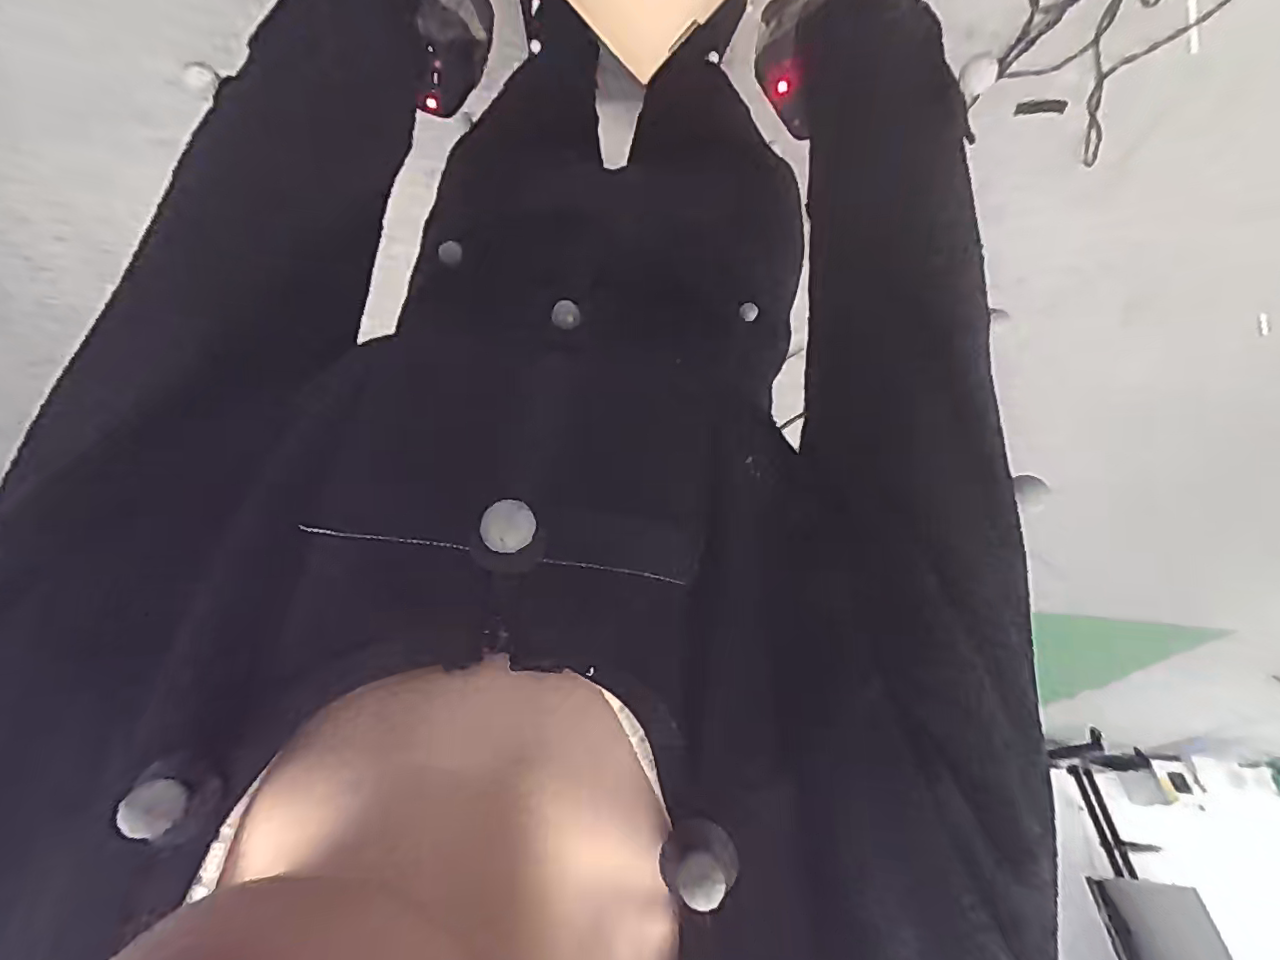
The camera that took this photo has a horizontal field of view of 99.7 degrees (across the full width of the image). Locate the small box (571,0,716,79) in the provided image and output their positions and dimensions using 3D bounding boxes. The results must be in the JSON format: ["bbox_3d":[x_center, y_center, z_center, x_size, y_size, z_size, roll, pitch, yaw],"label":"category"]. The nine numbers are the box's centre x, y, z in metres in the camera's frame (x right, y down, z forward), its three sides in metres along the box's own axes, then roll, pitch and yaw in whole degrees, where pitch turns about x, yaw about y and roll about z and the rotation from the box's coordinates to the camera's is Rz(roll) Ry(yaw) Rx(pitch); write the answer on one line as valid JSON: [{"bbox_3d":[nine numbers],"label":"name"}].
[{"bbox_3d":[0.004,-0.454,0.383,0.179,0.176,0.168,31,140,-34],"label":"small box"}]
